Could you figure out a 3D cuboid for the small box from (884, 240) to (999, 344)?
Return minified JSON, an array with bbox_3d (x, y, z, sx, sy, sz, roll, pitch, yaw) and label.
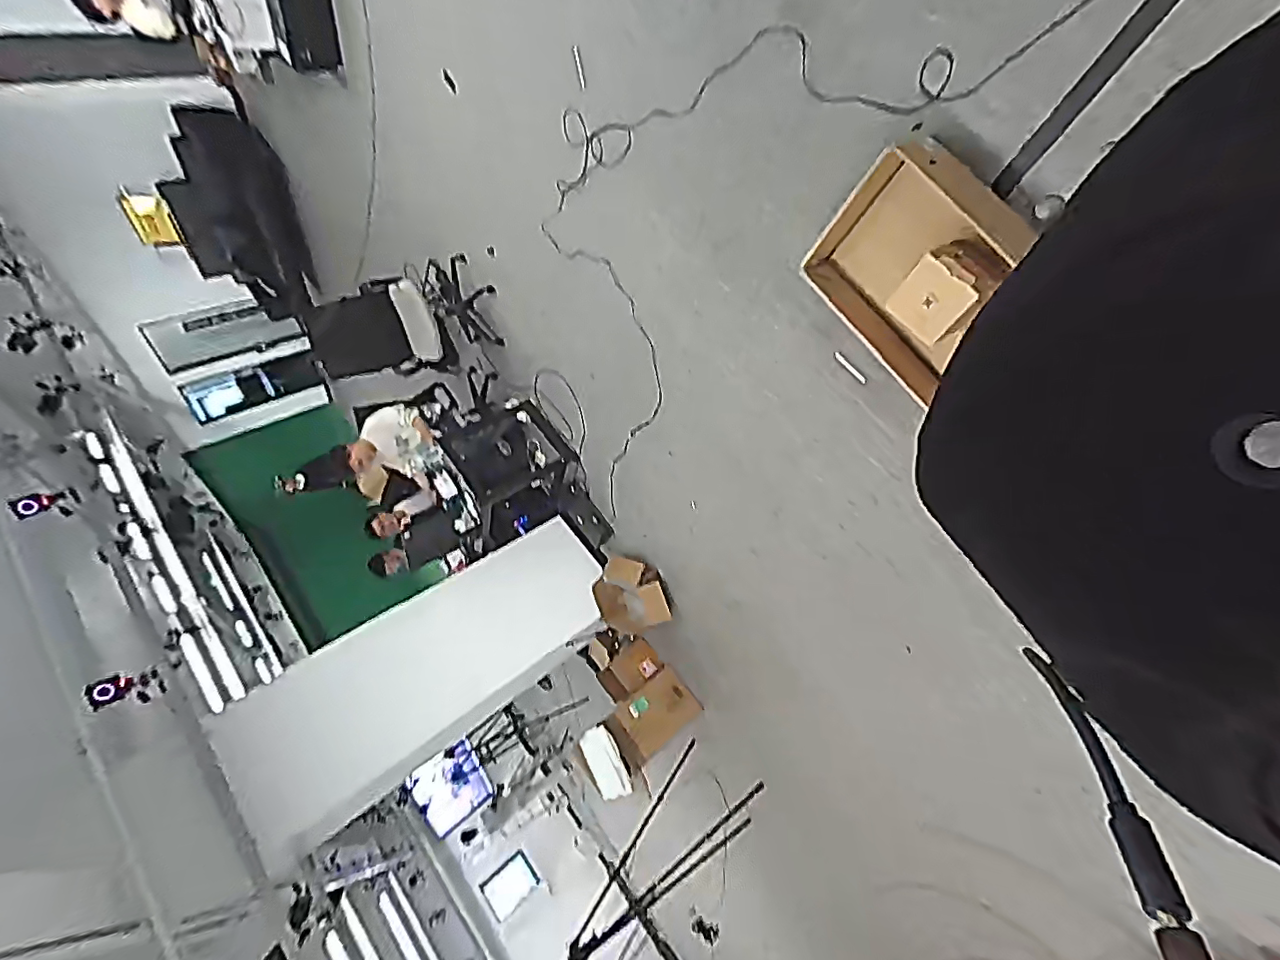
[{"bbox_3d":[0.778,-0.486,1.386,0.168,0.176,0.179,52,148,16],"label":"small box"}]
